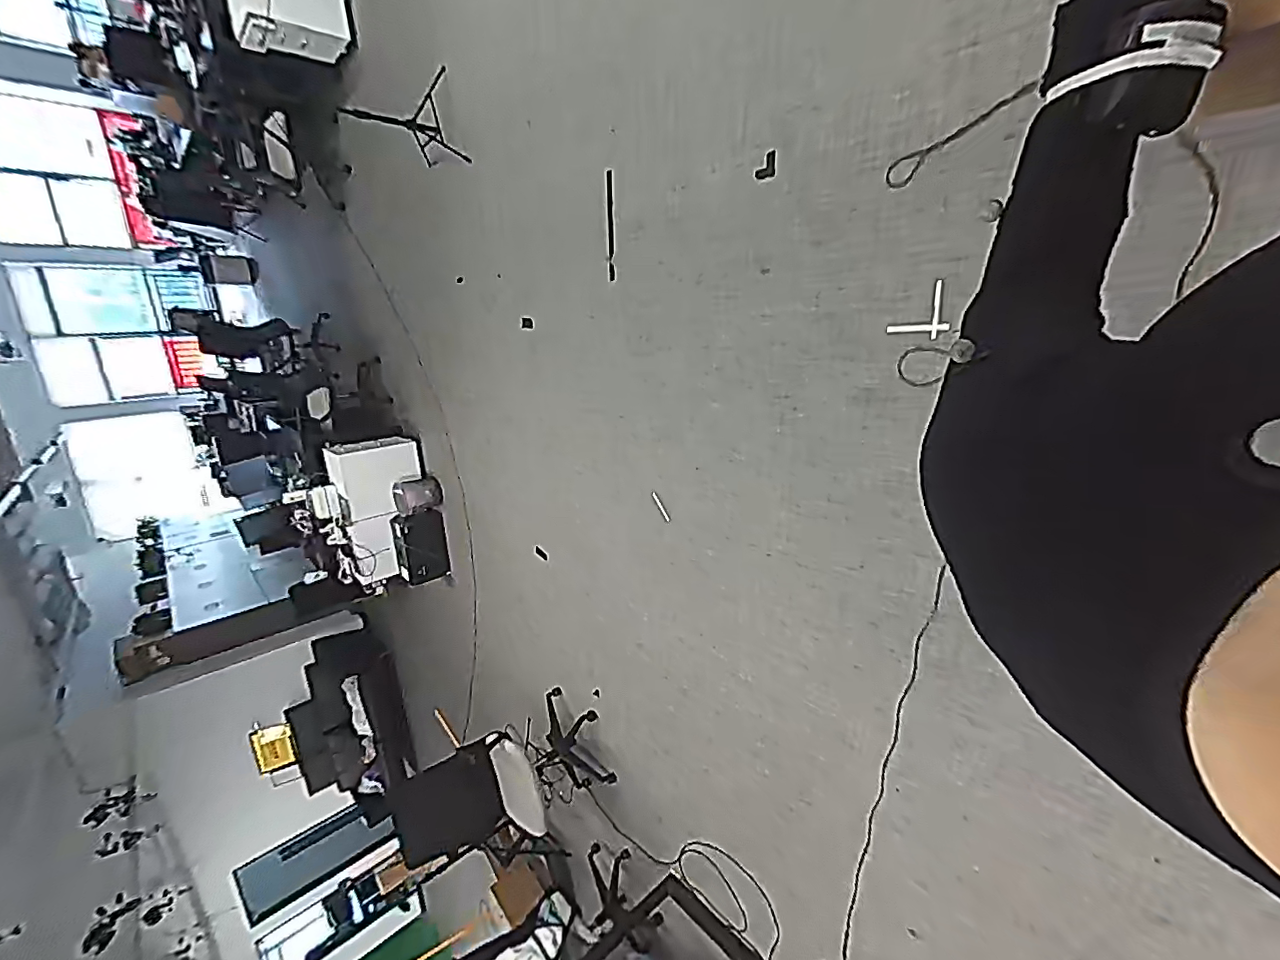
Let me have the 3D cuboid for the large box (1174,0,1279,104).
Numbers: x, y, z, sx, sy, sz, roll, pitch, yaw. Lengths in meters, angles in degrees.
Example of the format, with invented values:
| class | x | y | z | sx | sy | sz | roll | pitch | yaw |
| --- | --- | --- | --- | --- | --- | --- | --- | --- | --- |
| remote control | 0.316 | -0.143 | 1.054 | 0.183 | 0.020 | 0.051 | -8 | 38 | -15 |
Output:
| class | x | y | z | sx | sy | sz | roll | pitch | yaw |
| --- | --- | --- | --- | --- | --- | --- | --- | --- | --- |
| large box | 0.592 | -0.459 | 0.283 | 0.408 | 0.320 | 0.320 | 14 | 117 | 44 |
